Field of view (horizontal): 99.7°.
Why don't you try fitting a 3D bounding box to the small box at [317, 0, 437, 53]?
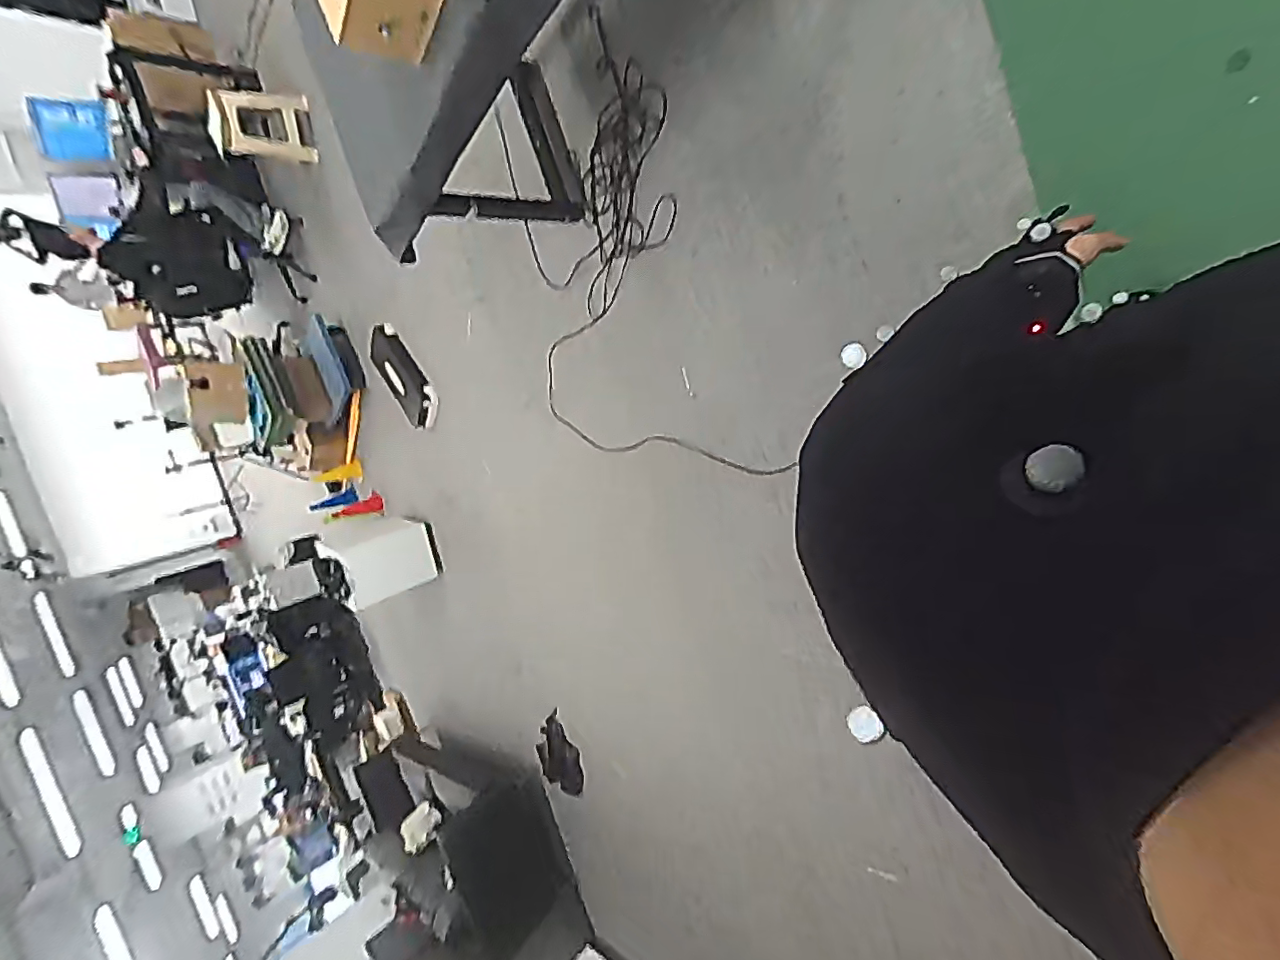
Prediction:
[{"bbox_3d":[-0.497,-0.941,1.004,0.168,0.176,0.179,-25,87,49],"label":"small box"}]
